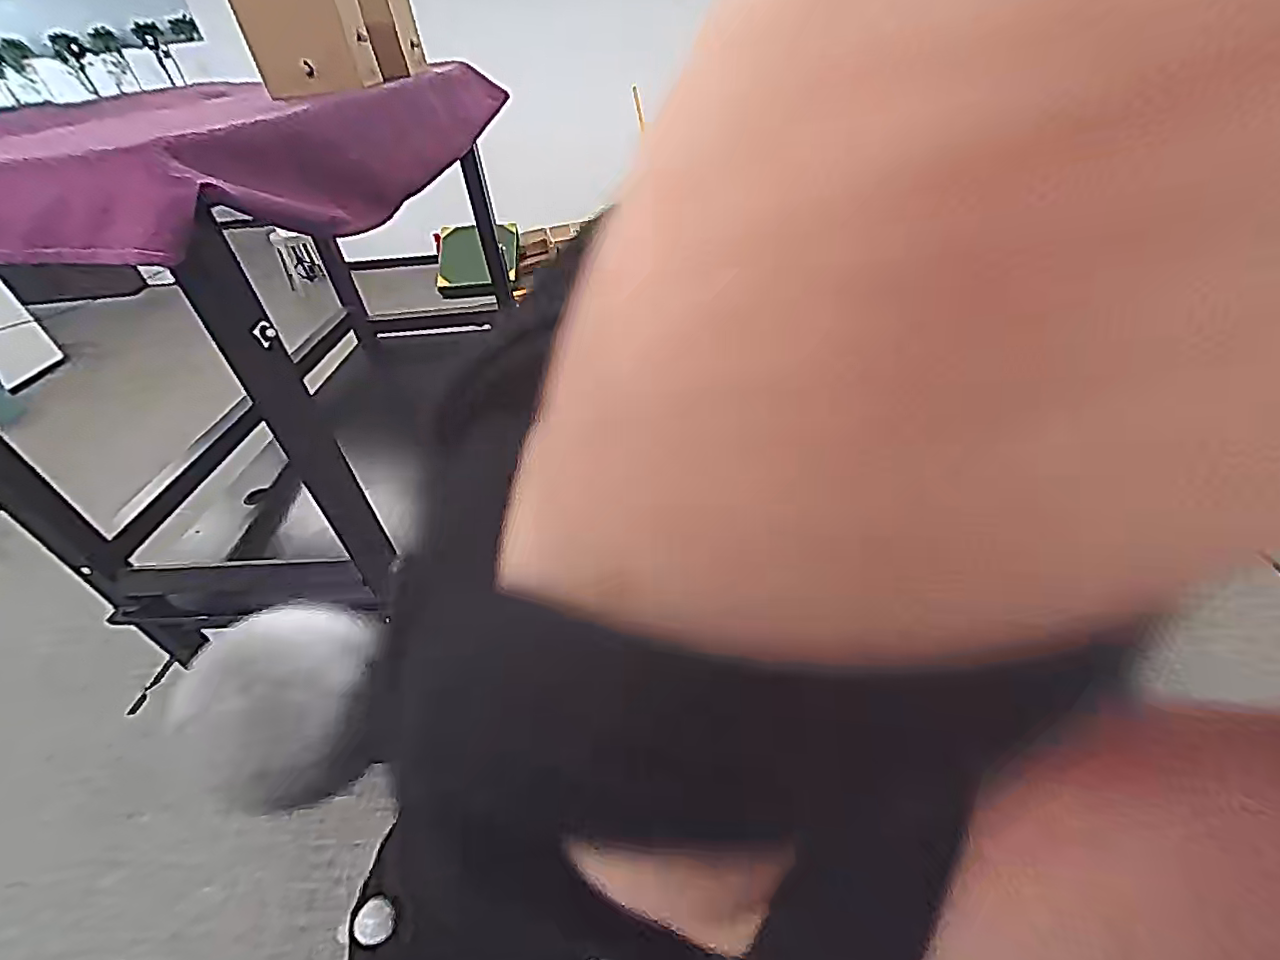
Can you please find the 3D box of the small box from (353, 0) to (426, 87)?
[{"bbox_3d":[-0.628,-1.018,1.255,0.179,0.176,0.168,-6,41,2],"label":"small box"}]

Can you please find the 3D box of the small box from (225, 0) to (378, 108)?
[{"bbox_3d":[-0.627,-0.824,1.027,0.179,0.176,0.168,-9,39,-3],"label":"small box"}]
